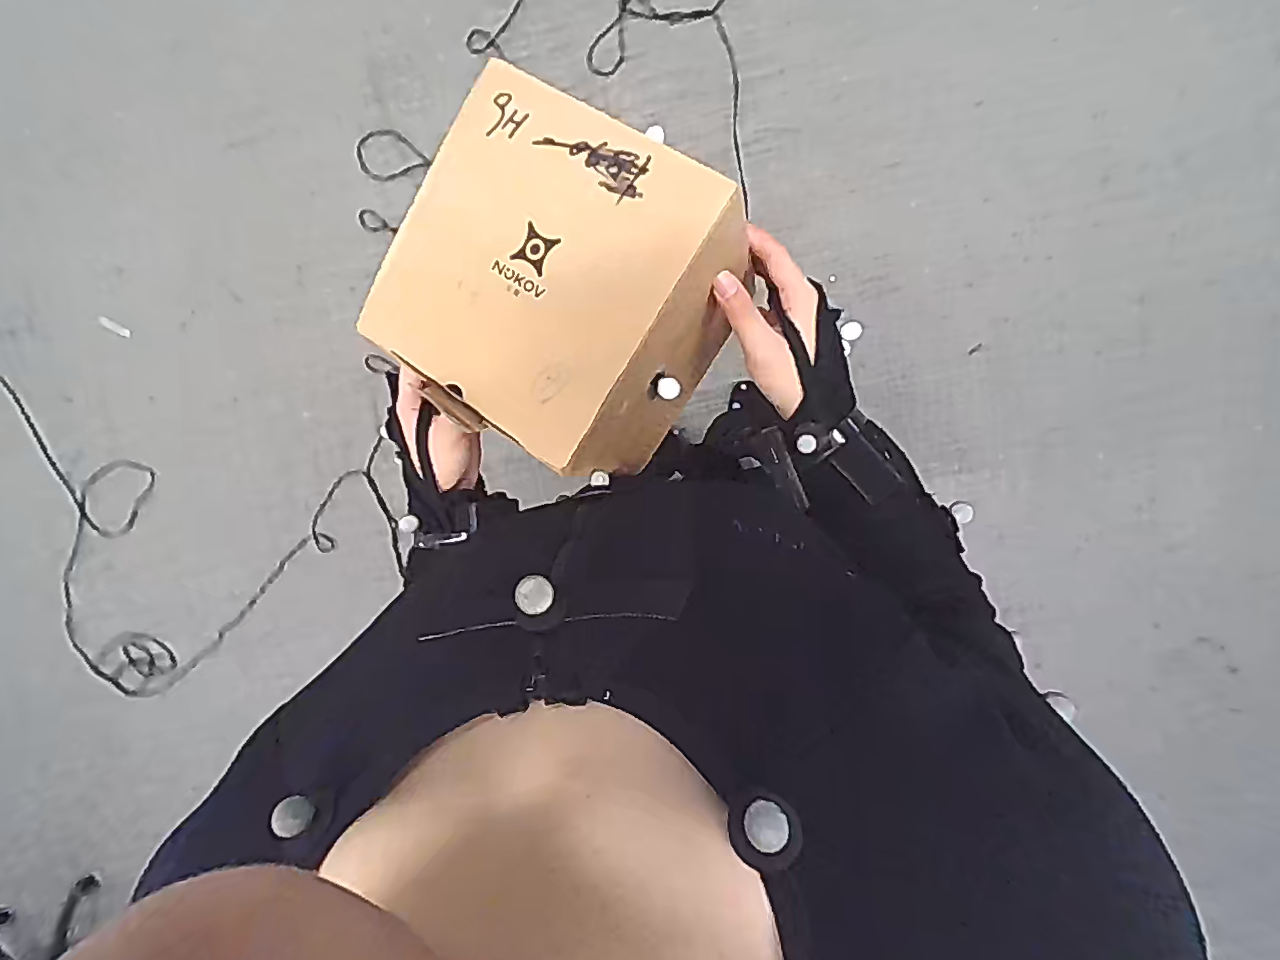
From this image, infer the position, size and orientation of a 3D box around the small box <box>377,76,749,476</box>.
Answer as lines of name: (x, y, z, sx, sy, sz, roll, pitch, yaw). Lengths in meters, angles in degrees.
small box: (-0.036, -0.119, 0.385, 0.168, 0.176, 0.179, 35, 100, 12)
